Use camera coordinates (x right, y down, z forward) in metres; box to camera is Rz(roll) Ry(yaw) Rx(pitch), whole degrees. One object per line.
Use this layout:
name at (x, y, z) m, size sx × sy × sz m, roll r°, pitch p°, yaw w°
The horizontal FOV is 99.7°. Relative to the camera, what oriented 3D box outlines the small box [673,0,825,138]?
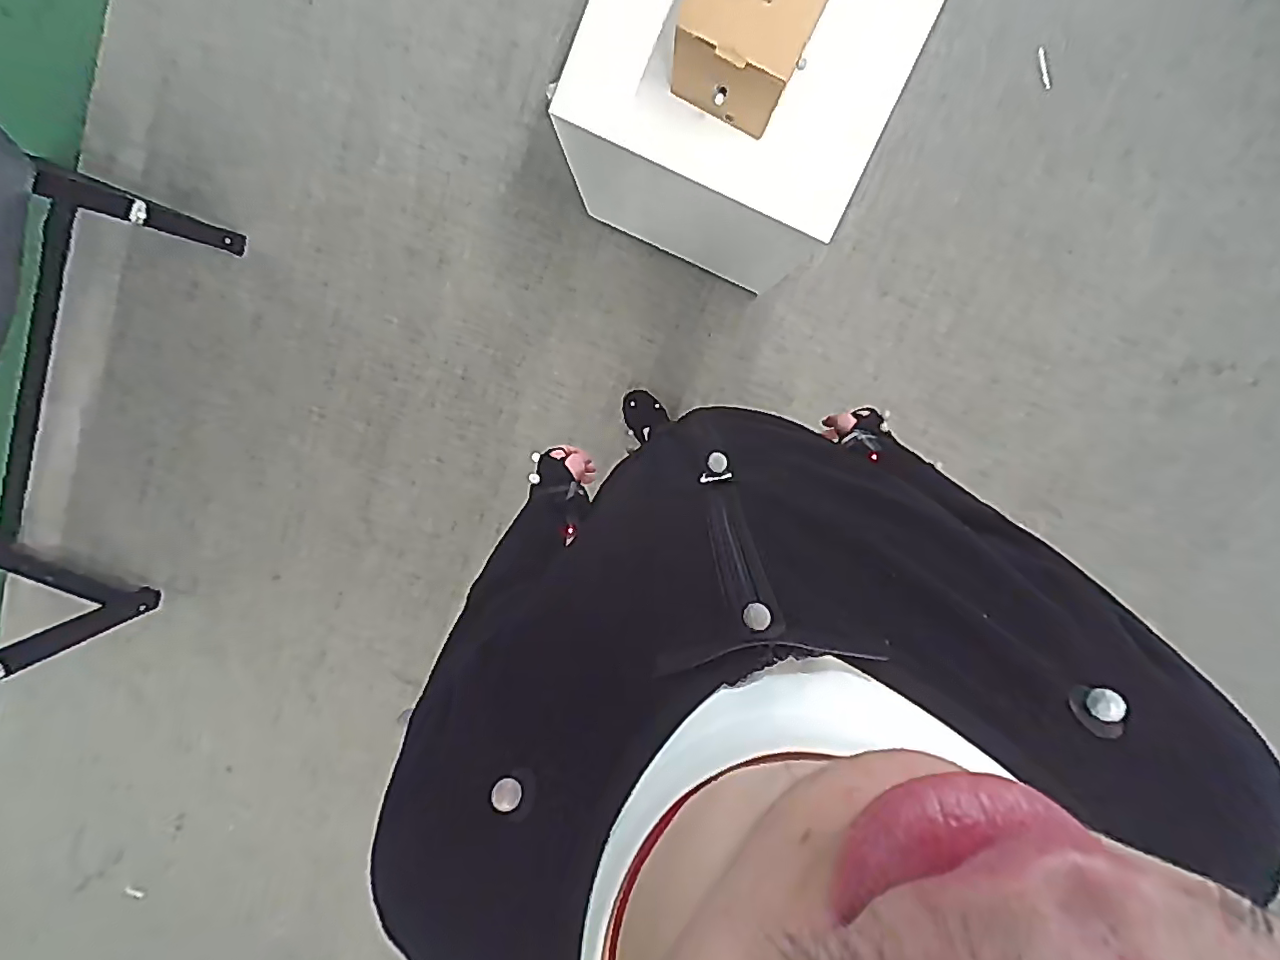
small box at (0.156, -0.642, 0.783) m, size 0.168 × 0.176 × 0.179 m, roll 24°, pitch 99°, yaw -3°
